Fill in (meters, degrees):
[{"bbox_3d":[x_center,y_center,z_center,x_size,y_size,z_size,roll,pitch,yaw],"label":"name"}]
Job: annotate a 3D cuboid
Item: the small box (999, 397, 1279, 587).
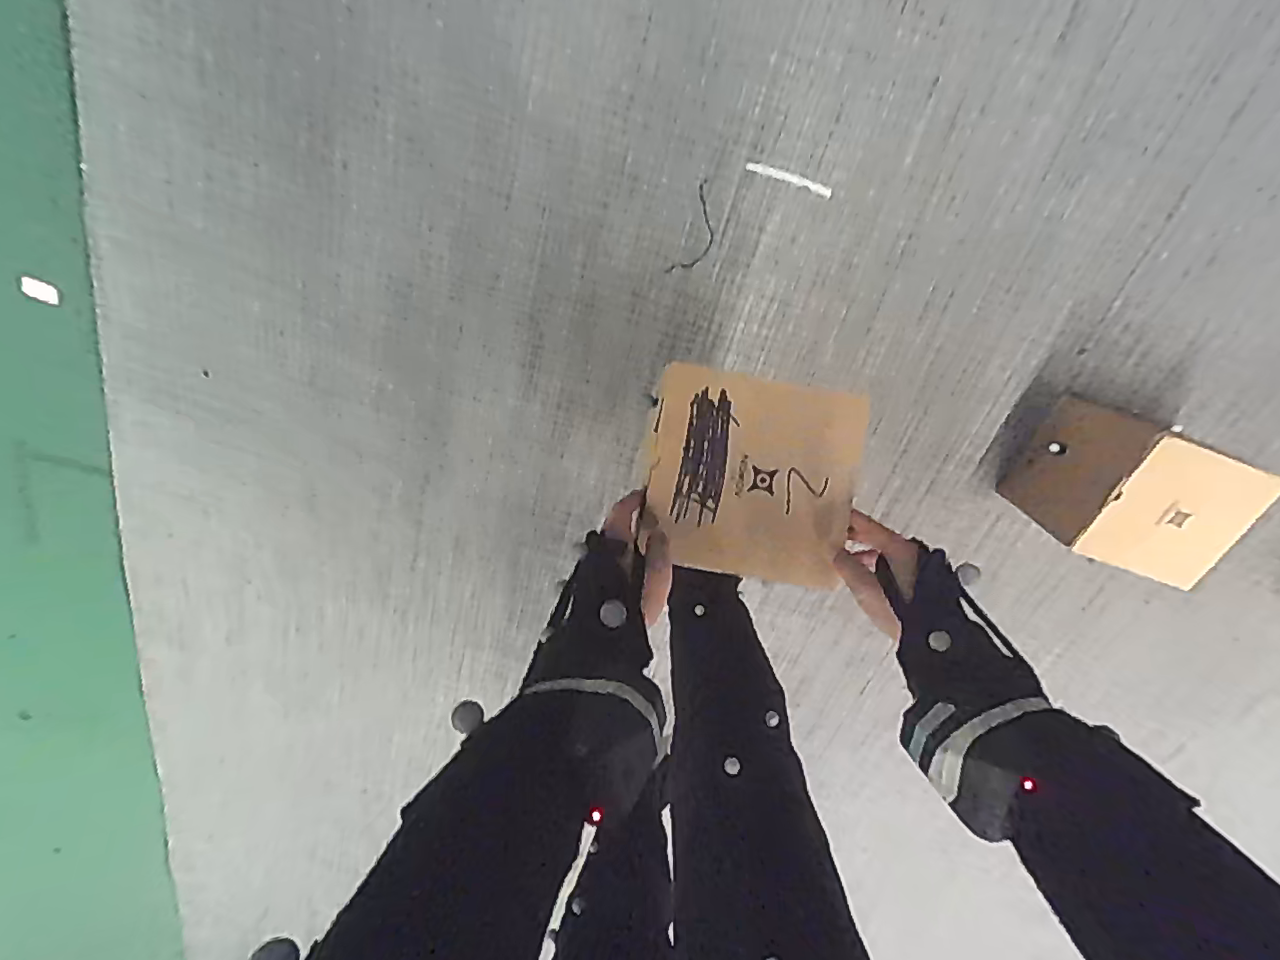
[{"bbox_3d":[0.636,0.007,0.715,0.179,0.176,0.168,19,115,-5],"label":"small box"}]
